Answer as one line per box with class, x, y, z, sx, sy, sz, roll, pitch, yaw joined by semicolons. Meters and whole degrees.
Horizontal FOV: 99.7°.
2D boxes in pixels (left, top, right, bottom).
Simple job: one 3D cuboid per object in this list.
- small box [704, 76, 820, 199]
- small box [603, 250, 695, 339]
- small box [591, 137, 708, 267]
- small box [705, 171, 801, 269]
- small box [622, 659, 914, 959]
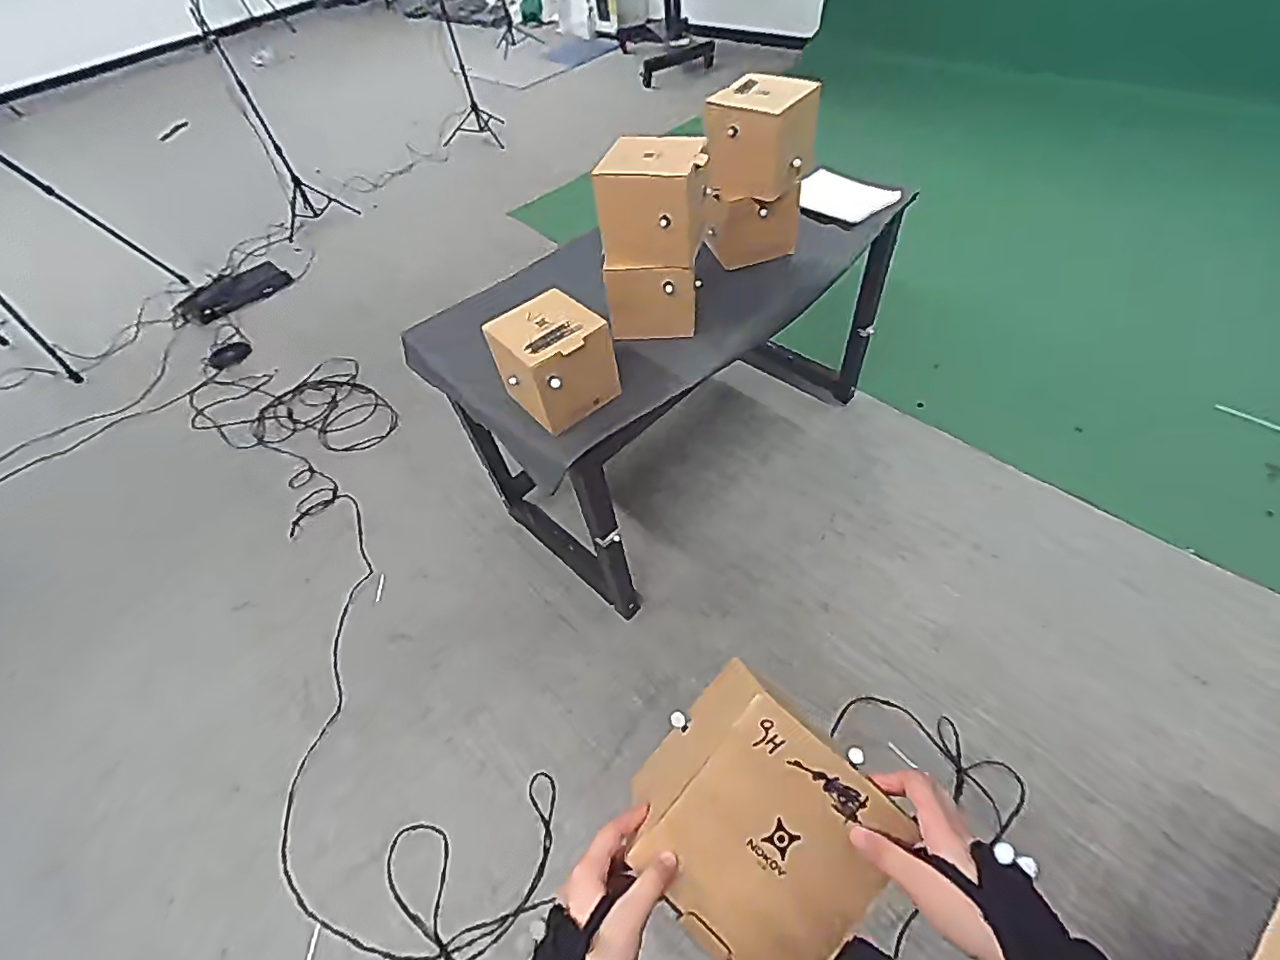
small box;0.253;-0.726;1.148;0.179;0.176;0.168;31;63;27
small box;0.028;-0.417;1.149;0.179;0.176;0.168;0;52;8
small box;0.027;-0.523;1.024;0.179;0.176;0.168;9;53;15
small box;0.259;-0.632;1.284;0.179;0.176;0.168;-17;52;-4
small box;0.106;0.299;0.509;0.168;0.176;0.179;40;86;7
